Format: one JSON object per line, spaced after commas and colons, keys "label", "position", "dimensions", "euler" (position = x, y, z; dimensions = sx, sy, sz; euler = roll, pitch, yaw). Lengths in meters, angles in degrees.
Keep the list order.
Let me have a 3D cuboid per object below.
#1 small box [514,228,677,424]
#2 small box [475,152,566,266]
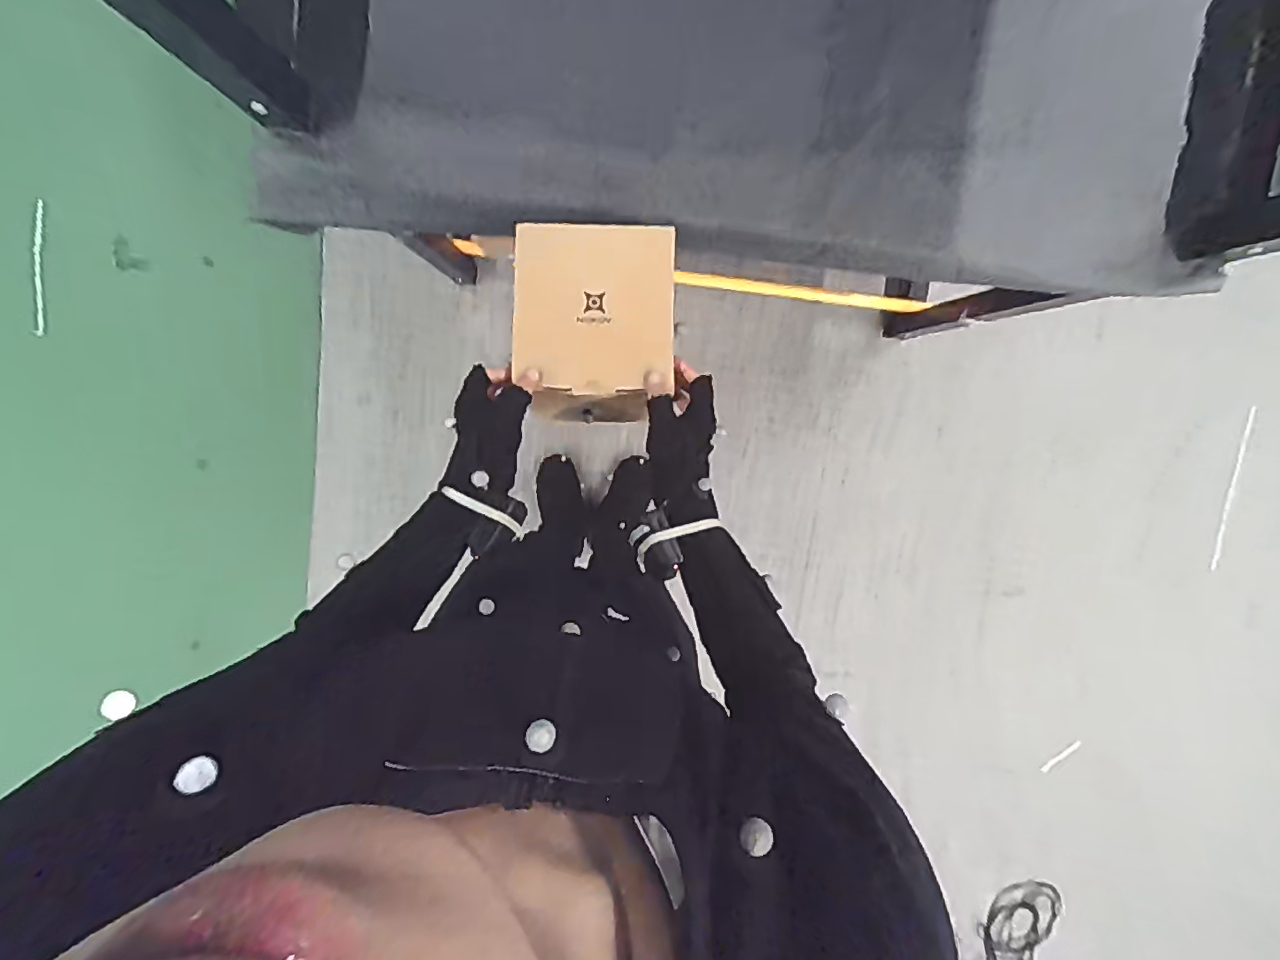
{"label": "small box", "position": [-0.048, -0.169, 0.640], "dimensions": [0.168, 0.176, 0.179], "euler": [1, 86, -1]}
{"label": "small box", "position": [-0.251, -0.570, 1.166], "dimensions": [0.168, 0.176, 0.179], "euler": [5, 99, -5]}
